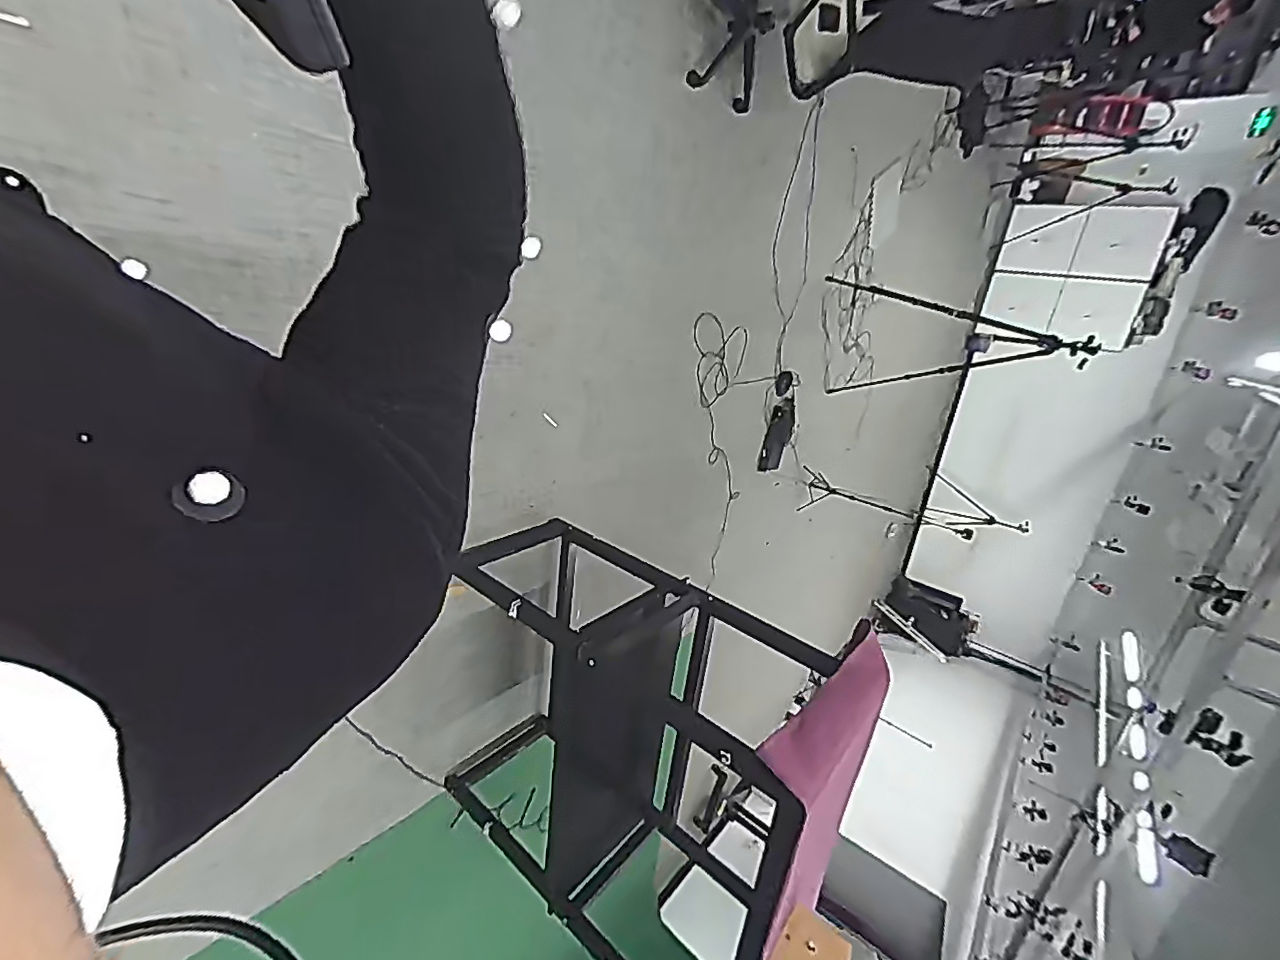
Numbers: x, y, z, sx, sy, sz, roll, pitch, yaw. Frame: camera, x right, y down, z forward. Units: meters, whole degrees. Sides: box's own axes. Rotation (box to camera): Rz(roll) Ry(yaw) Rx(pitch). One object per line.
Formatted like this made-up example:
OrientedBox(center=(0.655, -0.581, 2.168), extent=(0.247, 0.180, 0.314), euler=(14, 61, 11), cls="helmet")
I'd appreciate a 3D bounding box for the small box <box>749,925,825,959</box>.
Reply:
OrientedBox(center=(0.375, 1.351, 1.442), extent=(0.168, 0.176, 0.179), euler=(-13, 118, -51), cls="small box")
